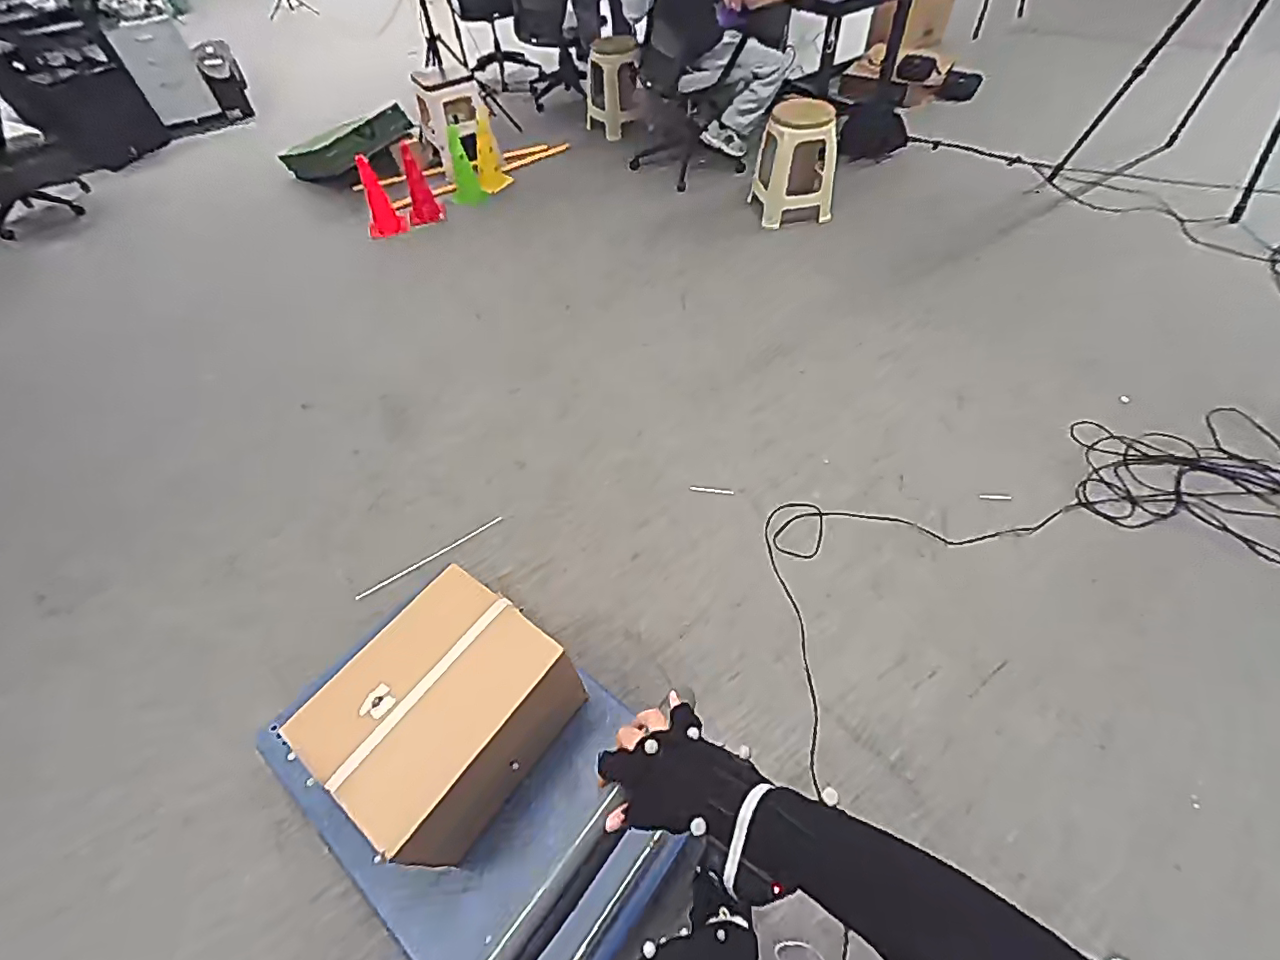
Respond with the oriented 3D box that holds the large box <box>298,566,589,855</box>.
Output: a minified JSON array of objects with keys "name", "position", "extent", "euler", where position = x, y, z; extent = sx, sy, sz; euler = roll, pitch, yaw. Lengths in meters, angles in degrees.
[{"name":"large box","position":[-0.358,0.463,1.101],"extent":[0.320,0.320,0.408],"euler":[29,62,24]}]
